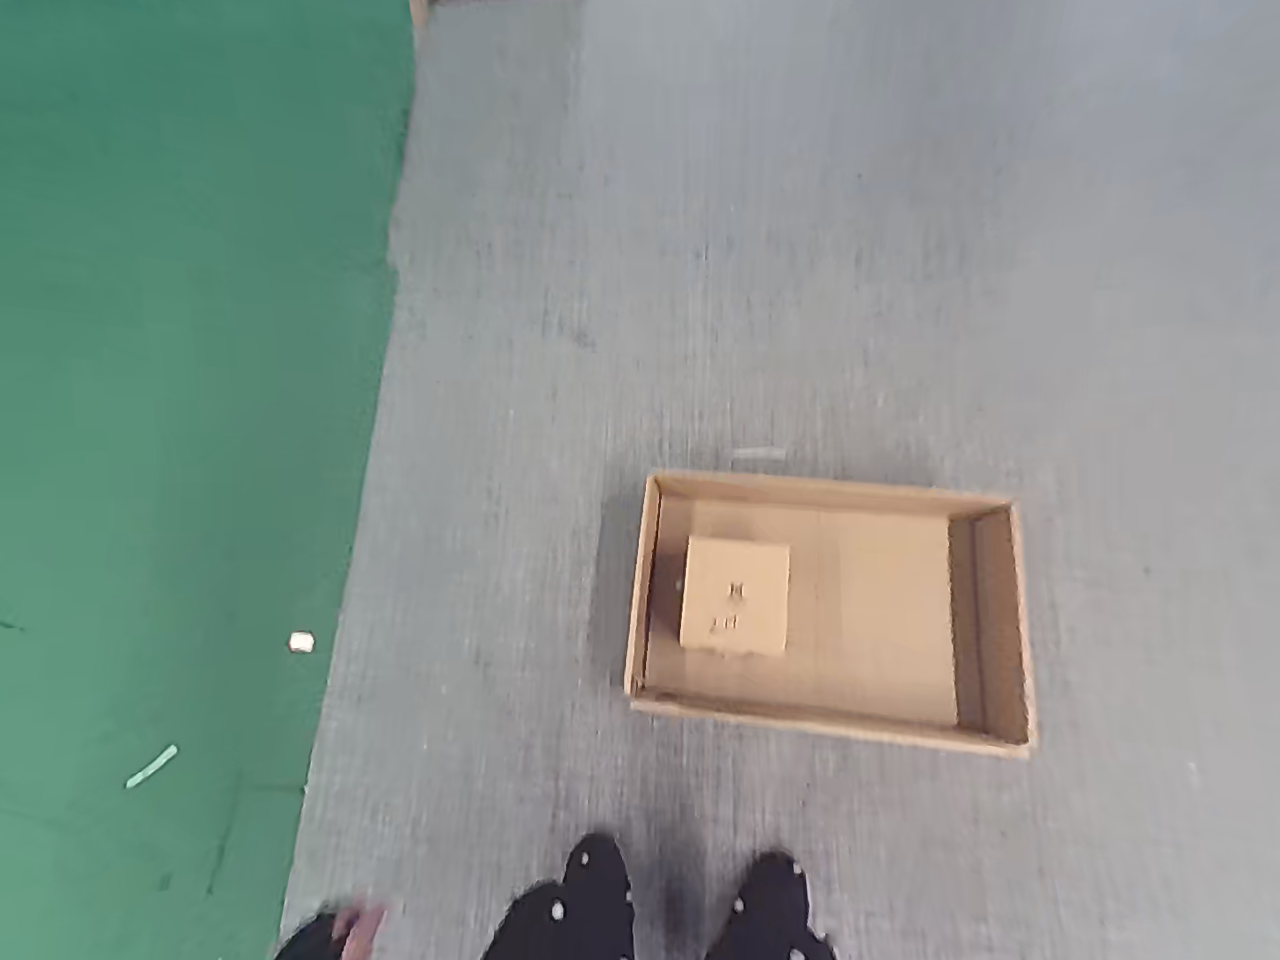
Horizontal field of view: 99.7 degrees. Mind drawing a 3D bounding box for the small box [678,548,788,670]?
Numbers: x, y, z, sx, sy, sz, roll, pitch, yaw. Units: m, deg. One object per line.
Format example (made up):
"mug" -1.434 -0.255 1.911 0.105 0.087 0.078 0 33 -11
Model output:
"small box" 0.156 0.226 0.936 0.168 0.176 0.179 5 73 8
